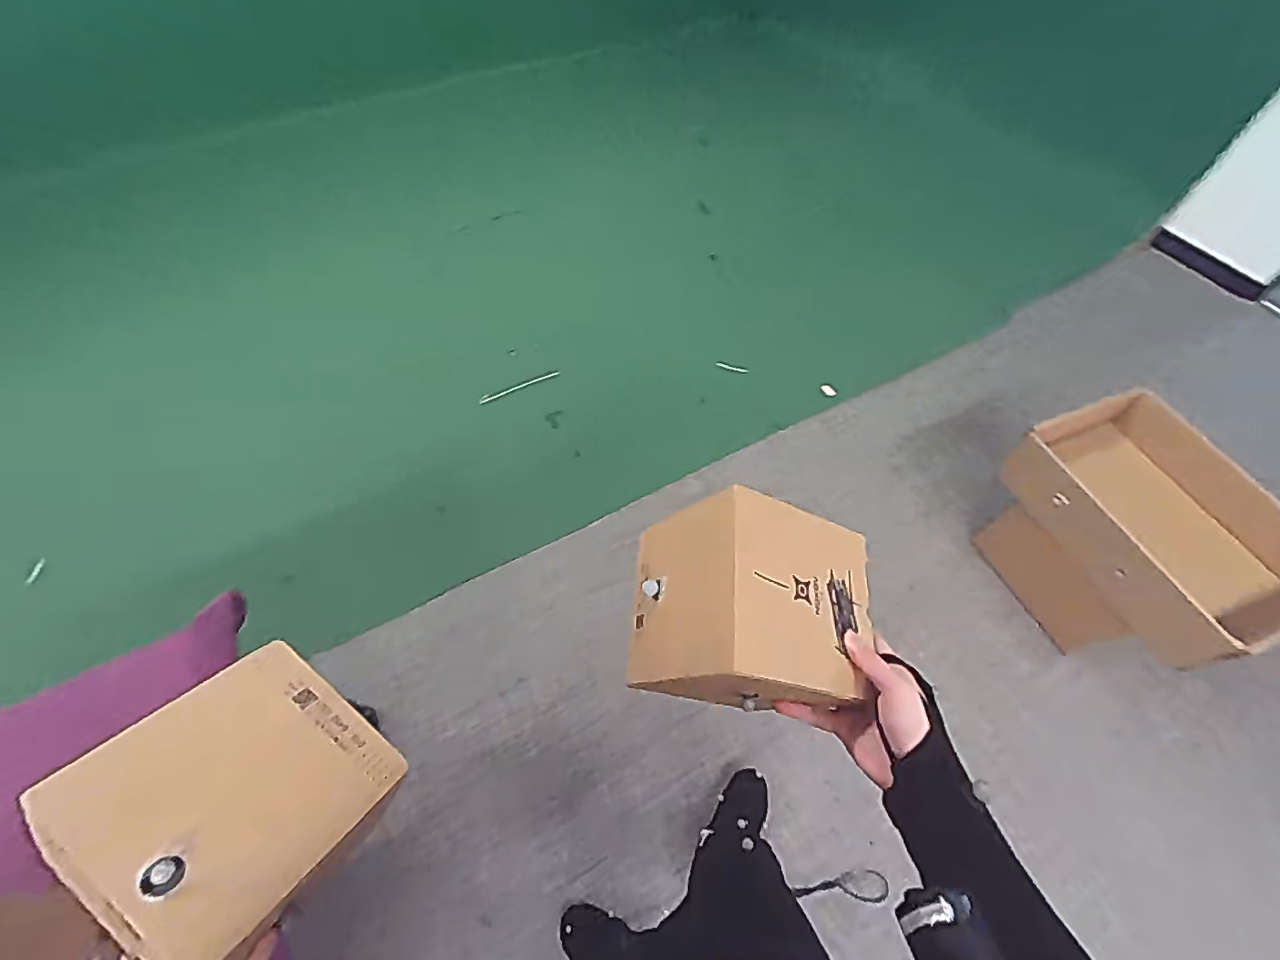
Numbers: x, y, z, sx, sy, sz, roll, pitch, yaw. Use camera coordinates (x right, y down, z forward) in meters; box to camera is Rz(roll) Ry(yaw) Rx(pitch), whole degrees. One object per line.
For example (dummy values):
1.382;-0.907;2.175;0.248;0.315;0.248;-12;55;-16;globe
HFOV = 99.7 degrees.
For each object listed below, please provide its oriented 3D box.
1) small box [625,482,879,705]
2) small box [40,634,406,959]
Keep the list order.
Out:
0.108;0.128;0.548;0.179;0.176;0.168;21;58;-24;small box
-0.325;0.268;0.448;0.168;0.179;0.176;39;34;8;small box
